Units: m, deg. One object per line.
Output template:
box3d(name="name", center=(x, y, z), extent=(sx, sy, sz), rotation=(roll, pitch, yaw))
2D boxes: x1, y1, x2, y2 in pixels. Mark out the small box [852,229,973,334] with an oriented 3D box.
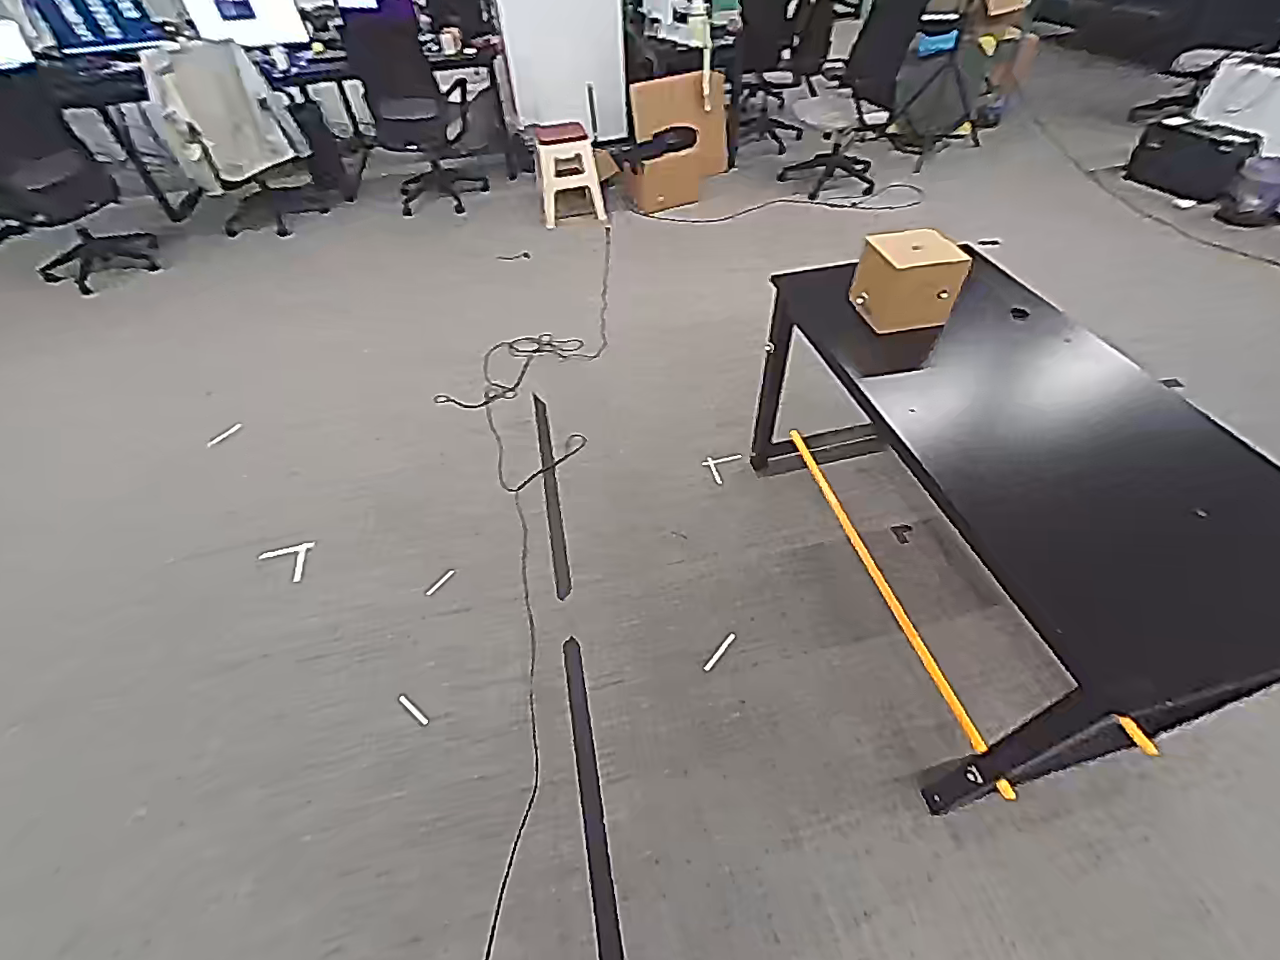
box3d(name="small box", center=(0.636, -0.470, 1.285), extent=(0.179, 0.176, 0.168), rotation=(-10, 48, -5))
